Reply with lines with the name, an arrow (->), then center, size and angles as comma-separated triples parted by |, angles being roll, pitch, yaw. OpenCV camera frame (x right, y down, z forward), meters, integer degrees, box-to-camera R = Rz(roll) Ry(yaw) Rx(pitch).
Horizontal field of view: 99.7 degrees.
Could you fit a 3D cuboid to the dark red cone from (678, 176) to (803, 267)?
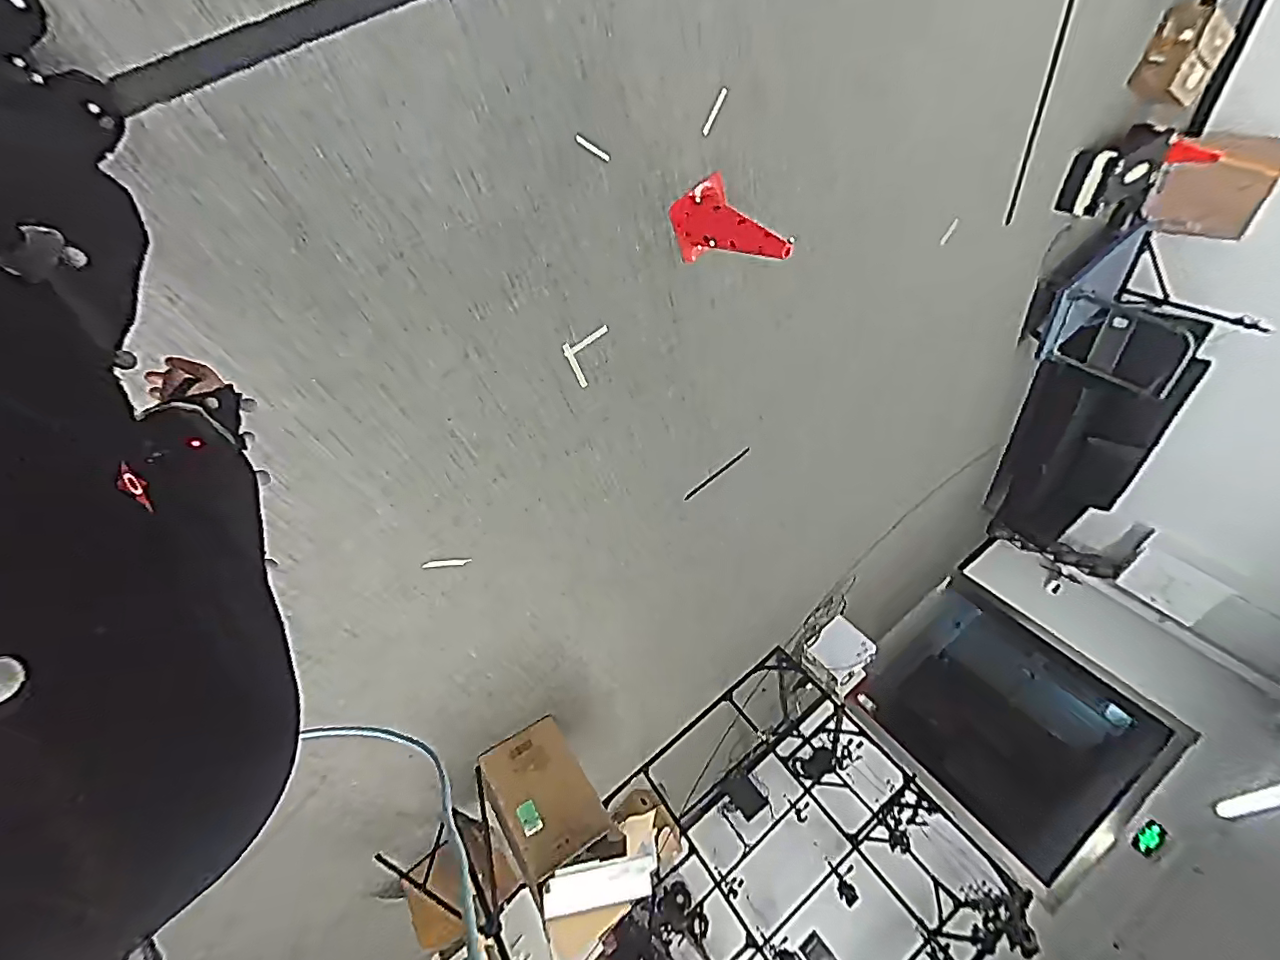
dark red cone -> 0.300, -0.683, 1.511 | 0.202, 0.394, 0.201 | -41, 140, -8
